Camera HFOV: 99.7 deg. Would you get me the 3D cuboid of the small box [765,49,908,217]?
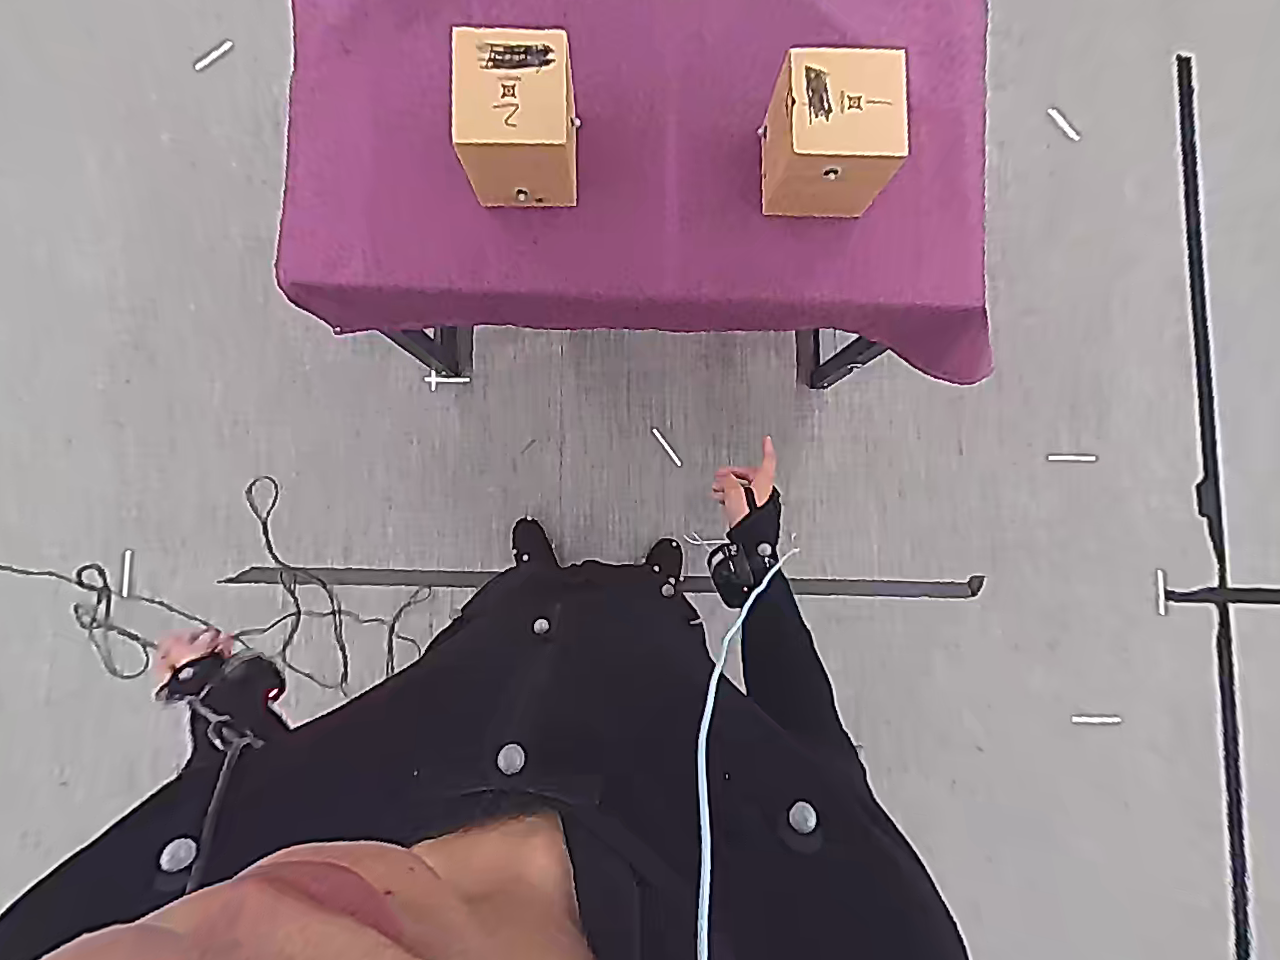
[{"bbox_3d":[0.305,-0.548,0.874,0.179,0.176,0.168,0,87,-2],"label":"small box"}]
